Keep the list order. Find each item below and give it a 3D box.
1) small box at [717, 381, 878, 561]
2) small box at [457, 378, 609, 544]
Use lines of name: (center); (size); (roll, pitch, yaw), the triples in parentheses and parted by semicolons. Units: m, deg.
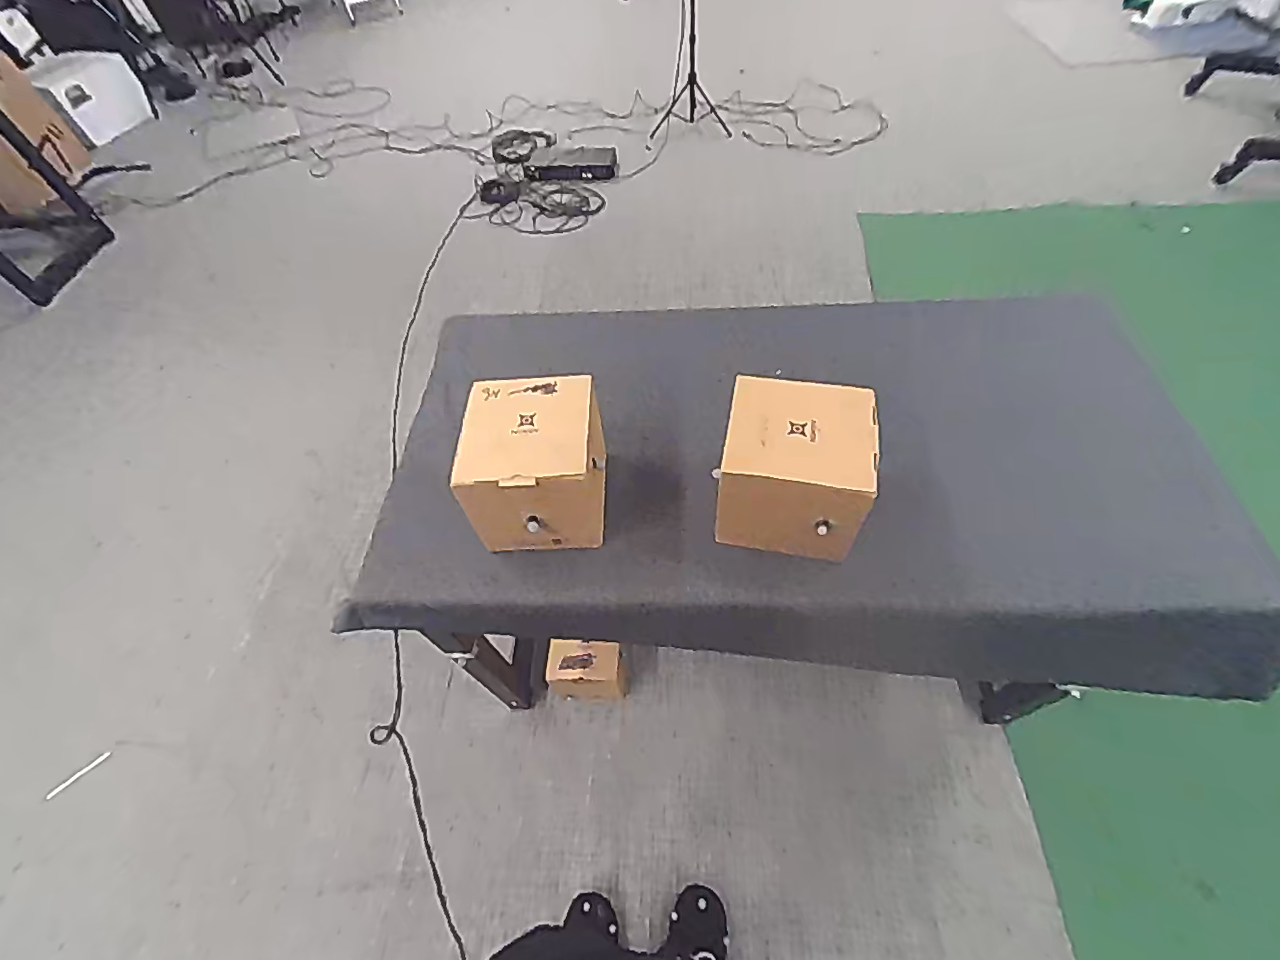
small box: (0.204, -0.008, 0.725); (0.179, 0.176, 0.168); (8, 55, 11)
small box: (-0.135, -0.019, 0.758); (0.168, 0.176, 0.179); (-2, 54, 3)
